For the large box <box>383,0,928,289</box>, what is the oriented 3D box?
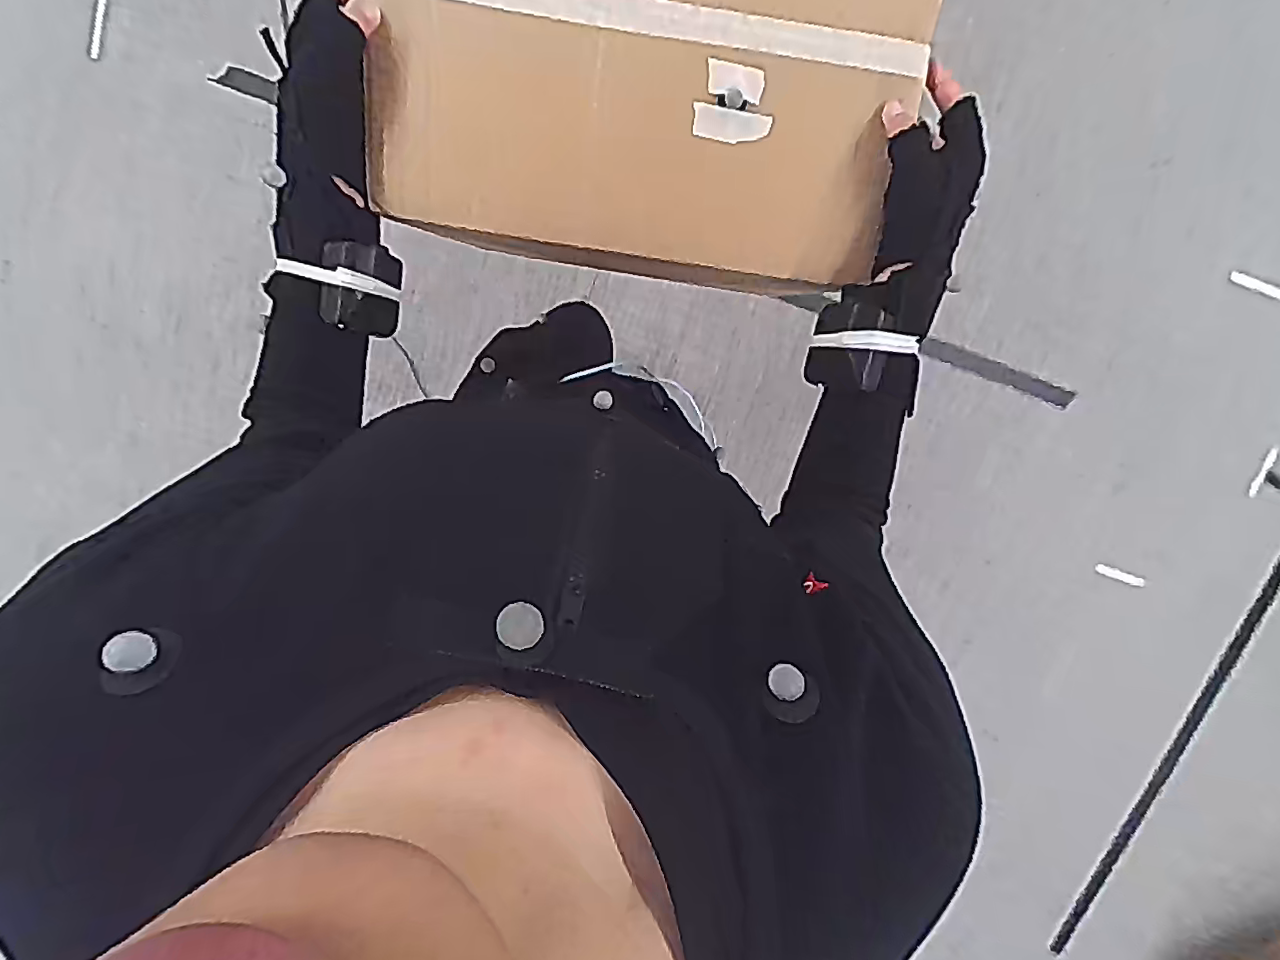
[{"bbox_3d":[0.007,-0.382,0.542,0.408,0.320,0.320,7,108,-3],"label":"large box"}]
